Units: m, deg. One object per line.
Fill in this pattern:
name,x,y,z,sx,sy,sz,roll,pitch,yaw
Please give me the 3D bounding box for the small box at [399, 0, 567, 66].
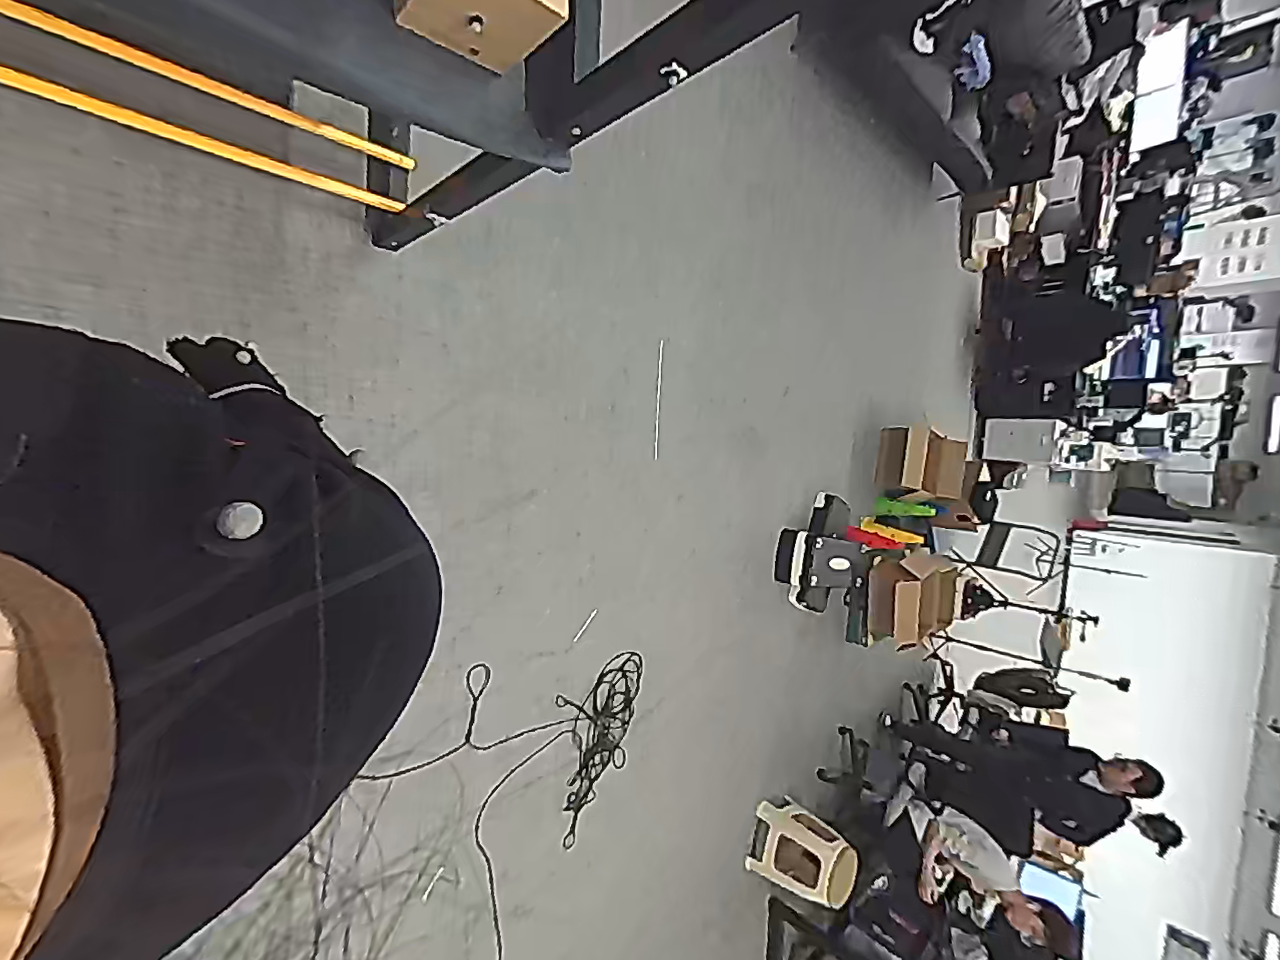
small box,-0.211,-0.696,0.707,0.168,0.176,0.179,-6,99,-44
